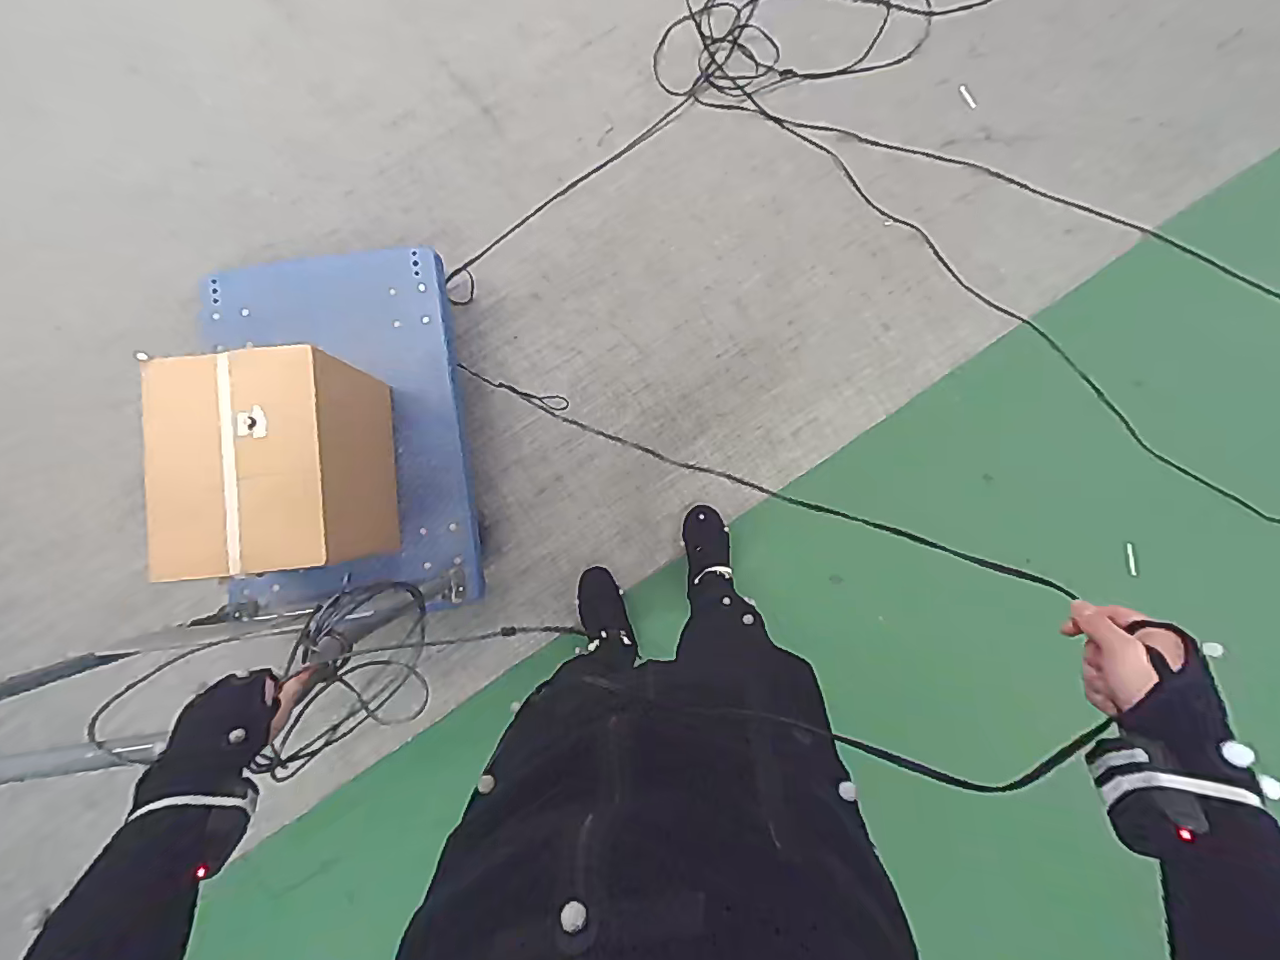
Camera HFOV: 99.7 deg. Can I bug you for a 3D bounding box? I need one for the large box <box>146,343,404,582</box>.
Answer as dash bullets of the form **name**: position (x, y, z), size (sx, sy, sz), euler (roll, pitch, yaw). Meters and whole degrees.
- **large box**: position (-0.712, -0.022, 1.103), size (0.320, 0.320, 0.408), euler (-6, 86, -1)
